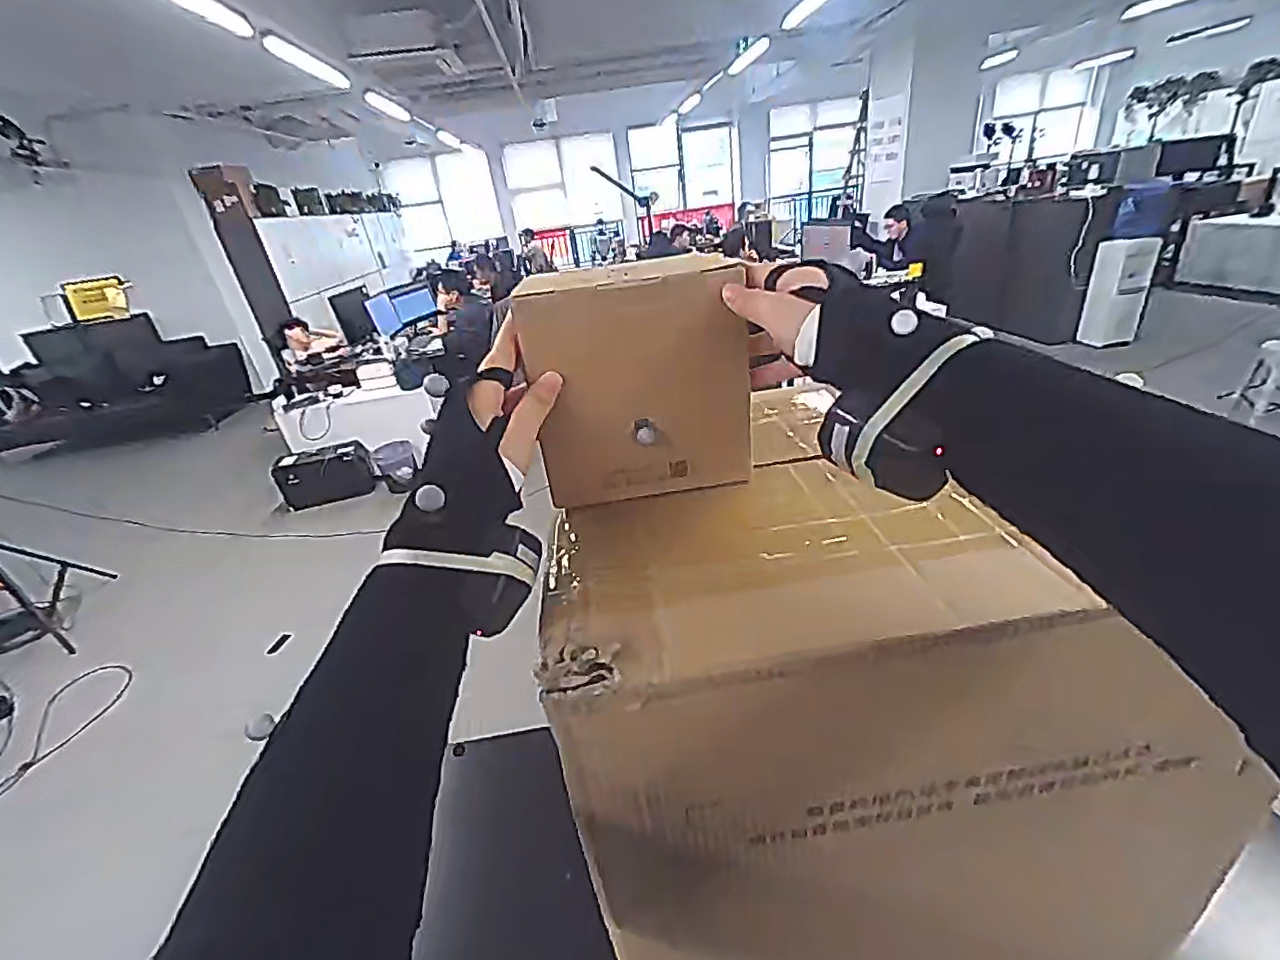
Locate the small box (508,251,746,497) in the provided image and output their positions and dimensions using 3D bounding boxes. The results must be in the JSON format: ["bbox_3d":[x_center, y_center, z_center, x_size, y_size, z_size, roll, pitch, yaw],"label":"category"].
[{"bbox_3d":[-0.008,-0.101,0.481,0.168,0.176,0.179,-9,25,-2],"label":"small box"}]
